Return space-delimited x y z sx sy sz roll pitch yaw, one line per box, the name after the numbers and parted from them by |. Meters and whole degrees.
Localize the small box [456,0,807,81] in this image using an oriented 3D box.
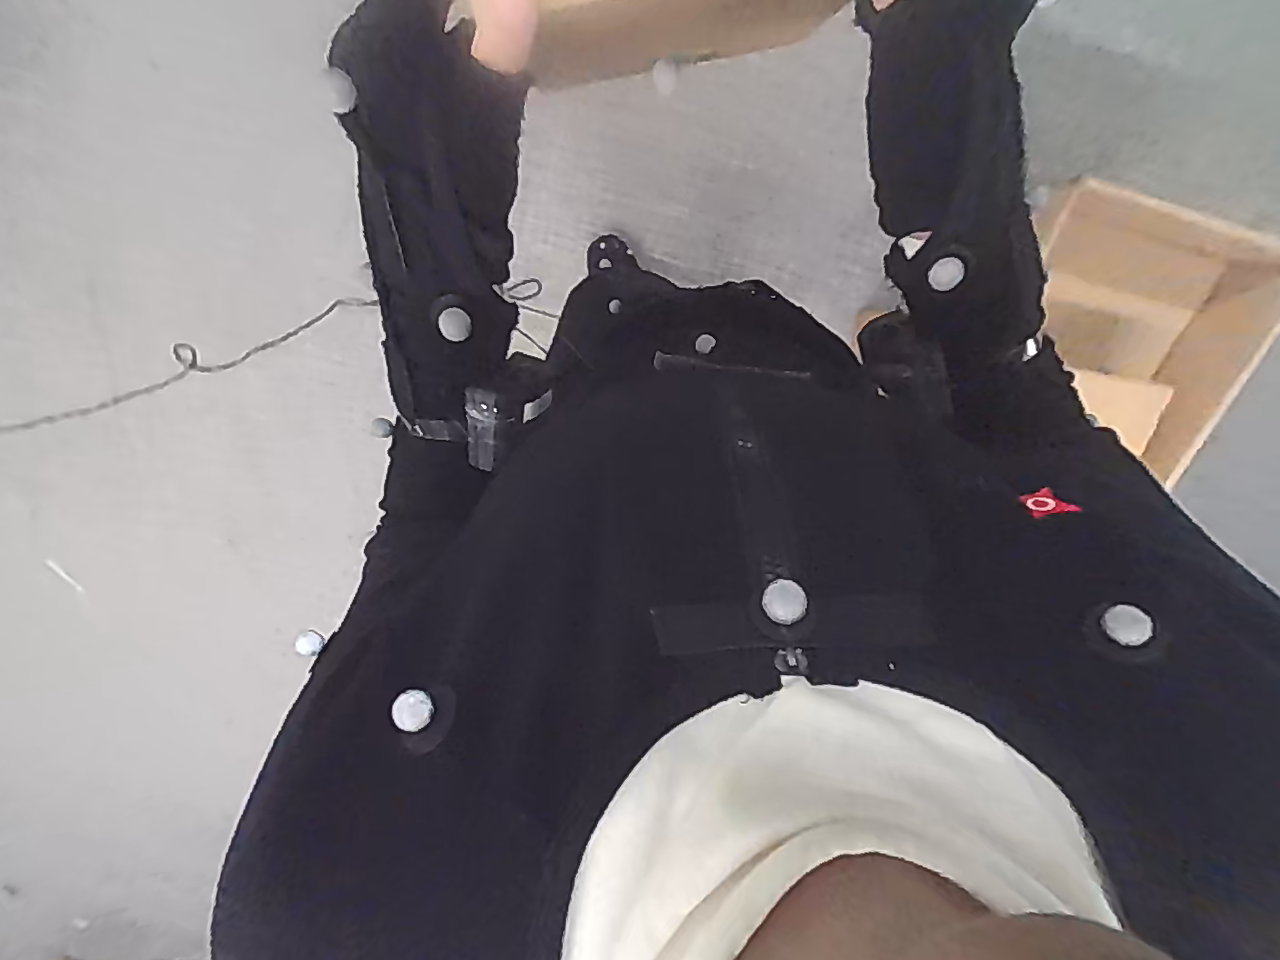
-0.006 -0.295 0.220 0.168 0.176 0.179 -9 119 4 | small box

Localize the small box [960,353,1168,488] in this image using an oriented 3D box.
0.684 -0.106 0.898 0.179 0.176 0.168 11 112 -3 | small box
